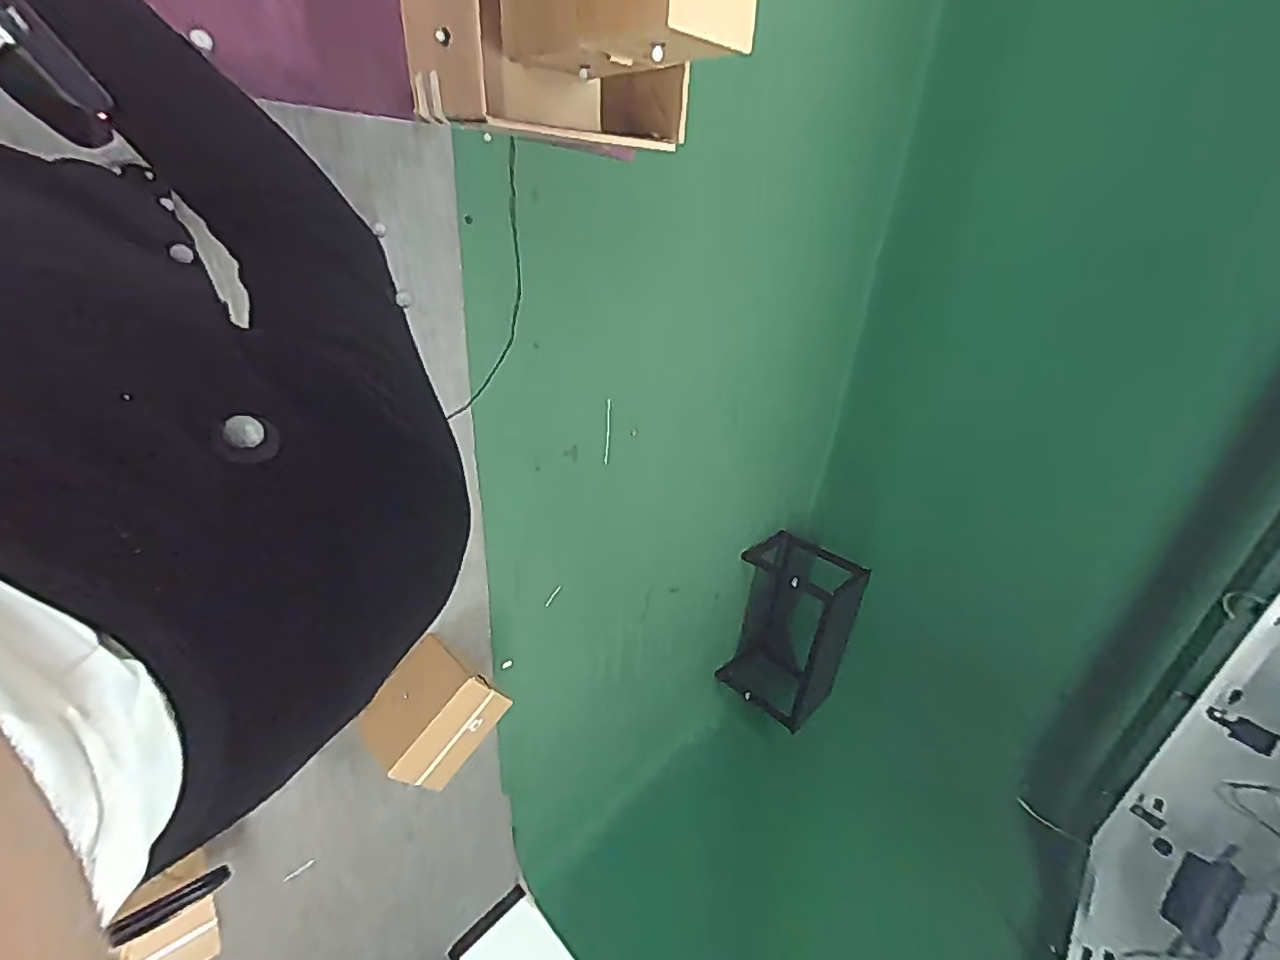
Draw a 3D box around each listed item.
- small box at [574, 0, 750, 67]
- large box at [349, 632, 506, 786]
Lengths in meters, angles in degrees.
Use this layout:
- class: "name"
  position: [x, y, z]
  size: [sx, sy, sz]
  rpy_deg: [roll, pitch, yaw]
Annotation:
- class: "small box"
  position: [0.028, -0.652, 0.688]
  size: [0.168, 0.176, 0.179]
  rpy_deg: [-23, 126, -39]
- class: "large box"
  position: [-0.808, 0.873, 2.074]
  size: [0.408, 0.320, 0.320]
  rpy_deg: [-51, 142, -18]
